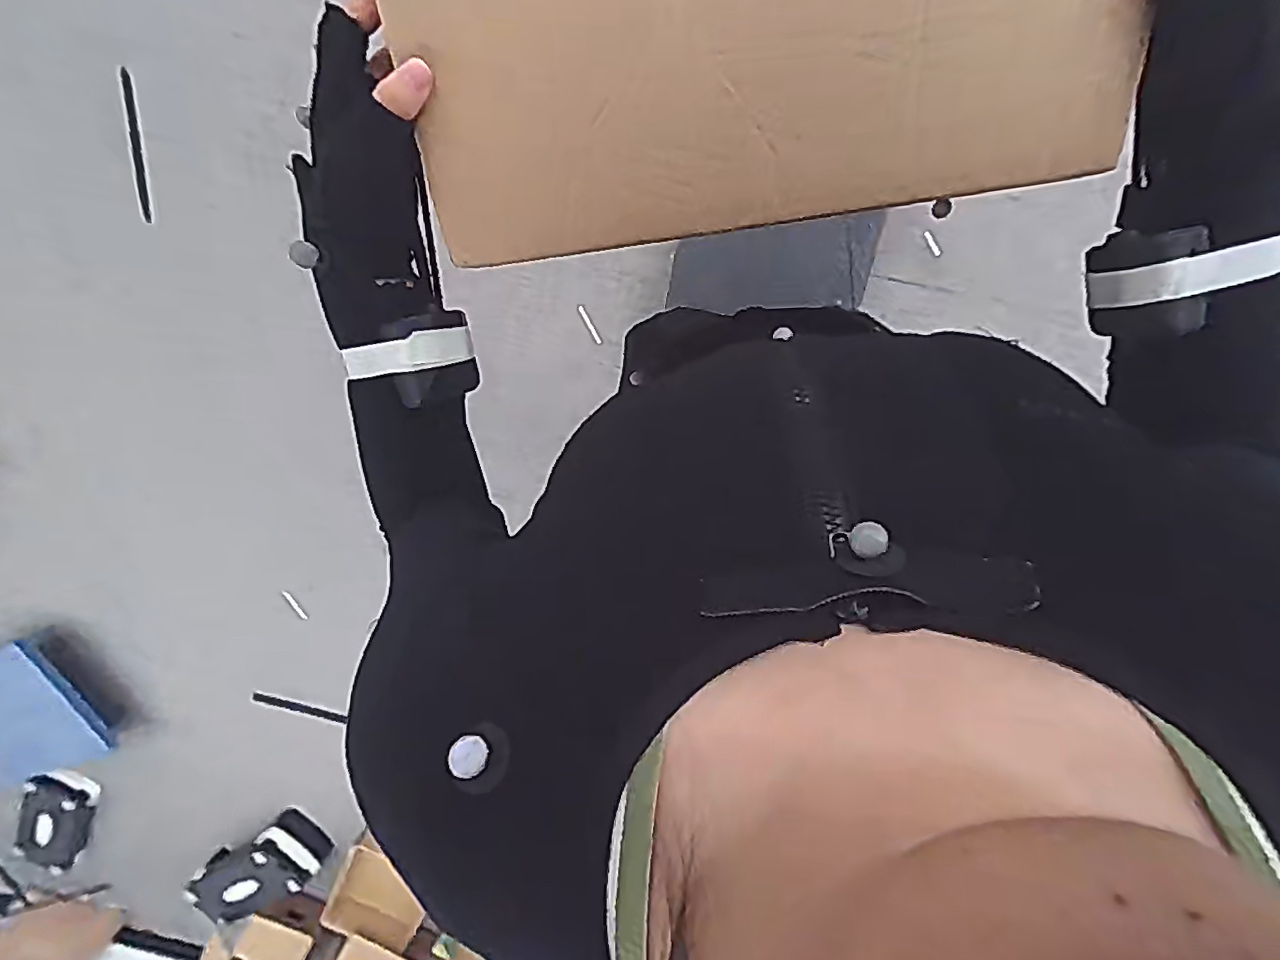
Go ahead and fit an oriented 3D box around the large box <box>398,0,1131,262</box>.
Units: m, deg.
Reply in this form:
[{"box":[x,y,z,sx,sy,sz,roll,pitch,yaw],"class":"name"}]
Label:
[{"box":[0.065,-0.372,0.404,0.408,0.320,0.320,-5,118,5],"class":"large box"}]
